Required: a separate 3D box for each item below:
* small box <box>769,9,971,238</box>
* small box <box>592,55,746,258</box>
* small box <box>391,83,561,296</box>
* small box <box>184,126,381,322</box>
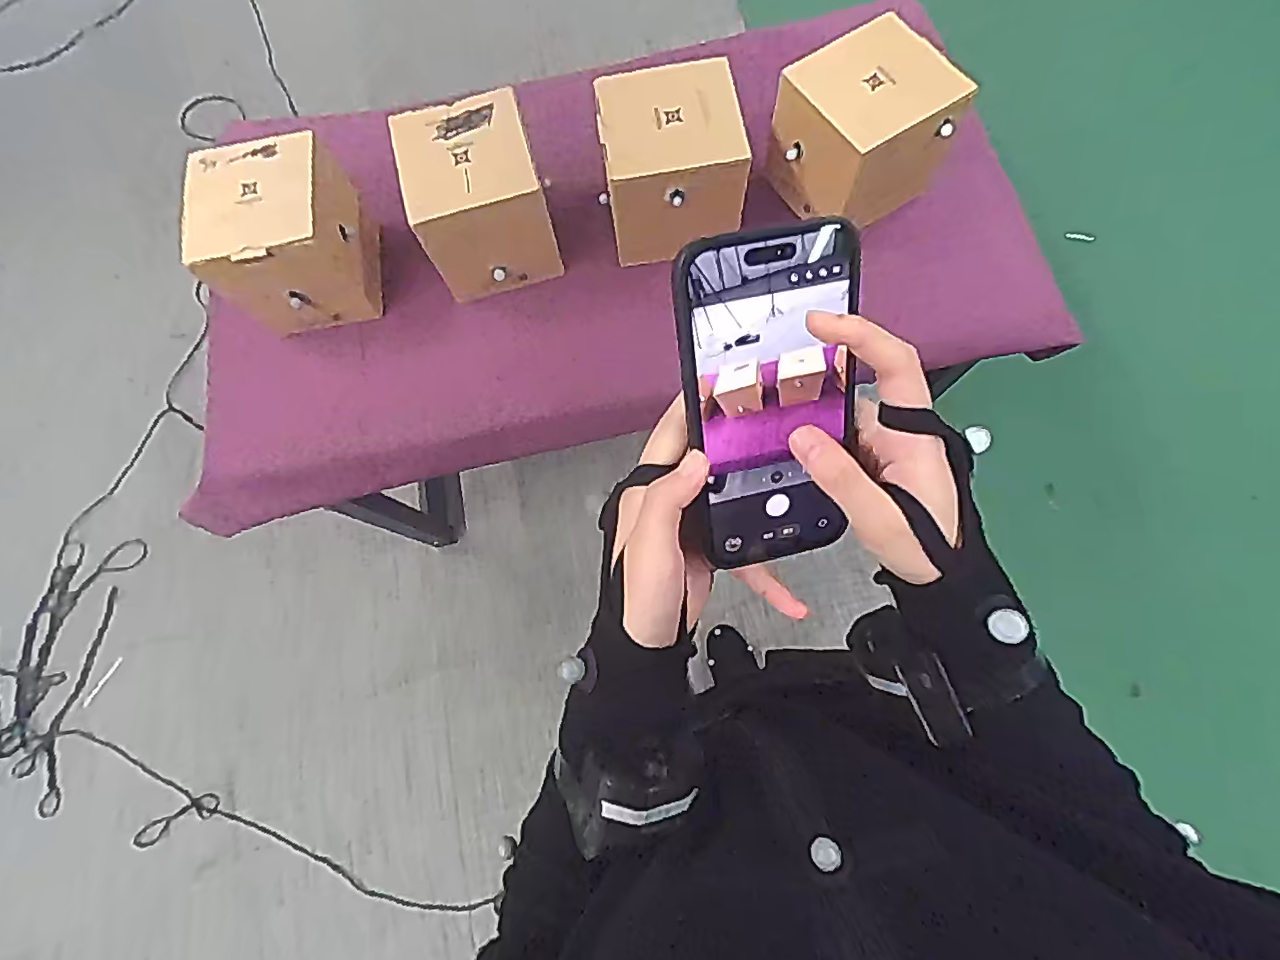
[{"bbox_3d":[0.294,-0.475,0.742,0.179,0.176,0.168,-31,74,-6],"label":"small box"},{"bbox_3d":[0.039,-0.433,0.747,0.179,0.176,0.168,-8,75,1],"label":"small box"},{"bbox_3d":[-0.218,-0.392,0.750,0.168,0.176,0.179,-15,75,-1],"label":"small box"},{"bbox_3d":[-0.481,-0.339,0.752,0.168,0.176,0.179,-10,75,1],"label":"small box"}]
